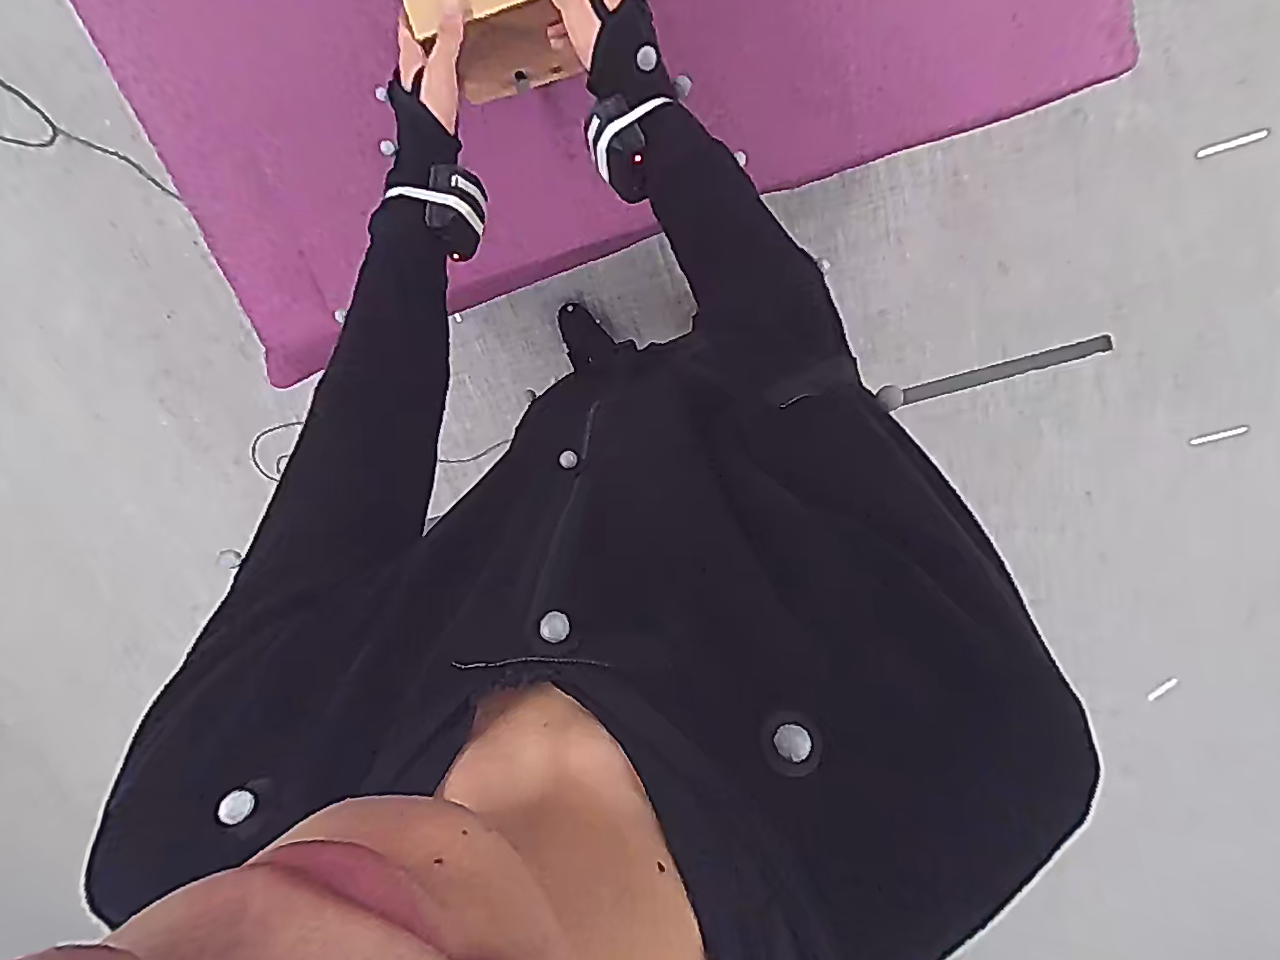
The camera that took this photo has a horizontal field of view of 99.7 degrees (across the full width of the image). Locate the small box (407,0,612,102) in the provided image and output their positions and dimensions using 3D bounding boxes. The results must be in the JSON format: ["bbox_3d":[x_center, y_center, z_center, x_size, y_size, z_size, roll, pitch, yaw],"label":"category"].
[{"bbox_3d":[-0.130,-0.502,0.507,0.168,0.176,0.179,-13,107,7],"label":"small box"}]
